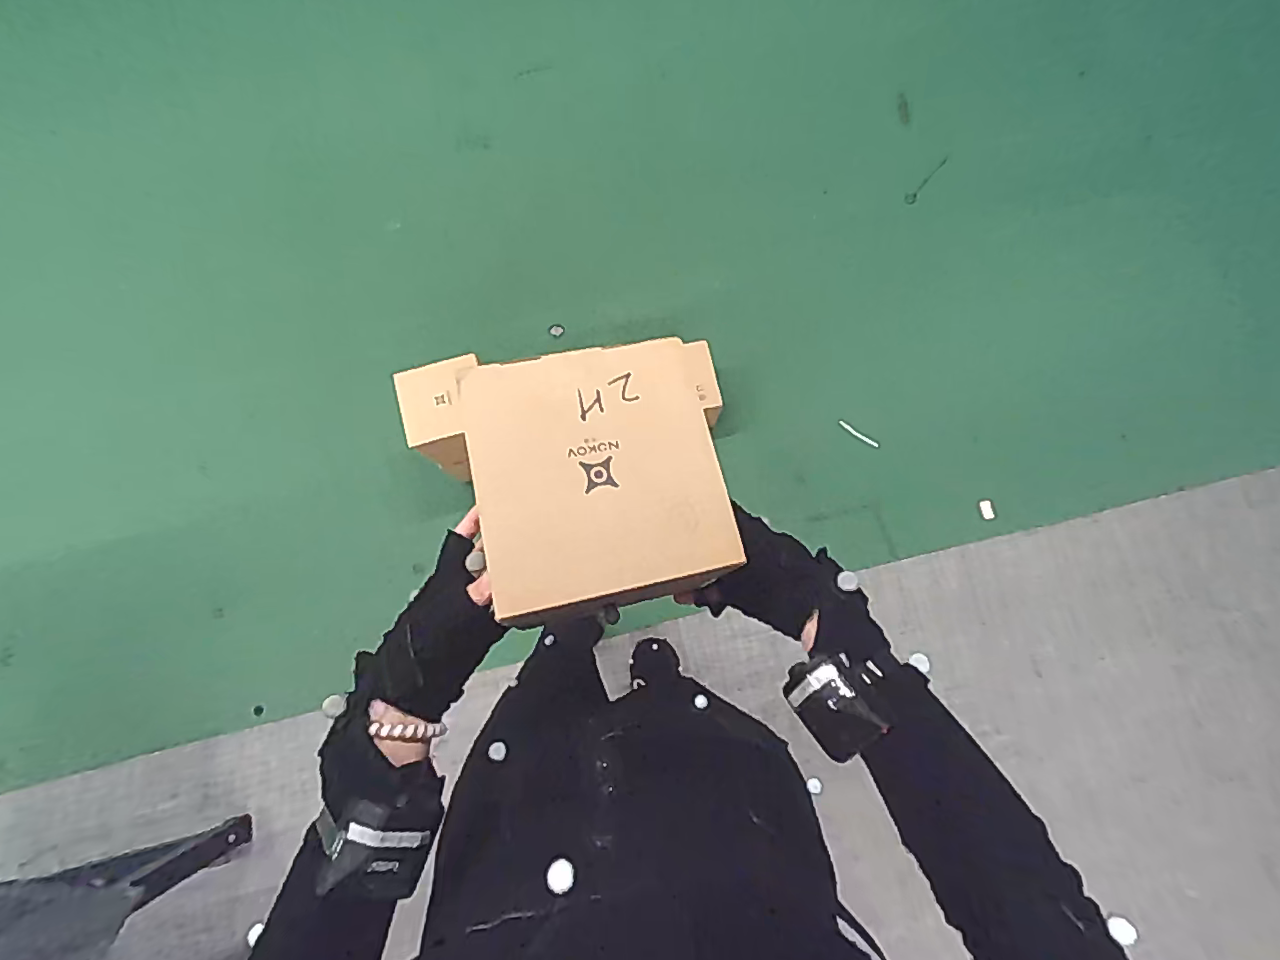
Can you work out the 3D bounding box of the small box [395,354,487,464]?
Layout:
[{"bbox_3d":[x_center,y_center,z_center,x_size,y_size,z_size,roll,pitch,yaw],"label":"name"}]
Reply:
[{"bbox_3d":[-0.398,-0.146,1.174,0.179,0.176,0.168,-16,79,-4],"label":"small box"}]

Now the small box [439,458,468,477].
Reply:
[{"bbox_3d":[-0.402,-0.112,1.334,0.168,0.176,0.179,-15,80,-3],"label":"small box"}]

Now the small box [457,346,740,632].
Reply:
[{"bbox_3d":[-0.038,0.019,0.436,0.168,0.176,0.179,-10,74,-10],"label":"small box"}]
